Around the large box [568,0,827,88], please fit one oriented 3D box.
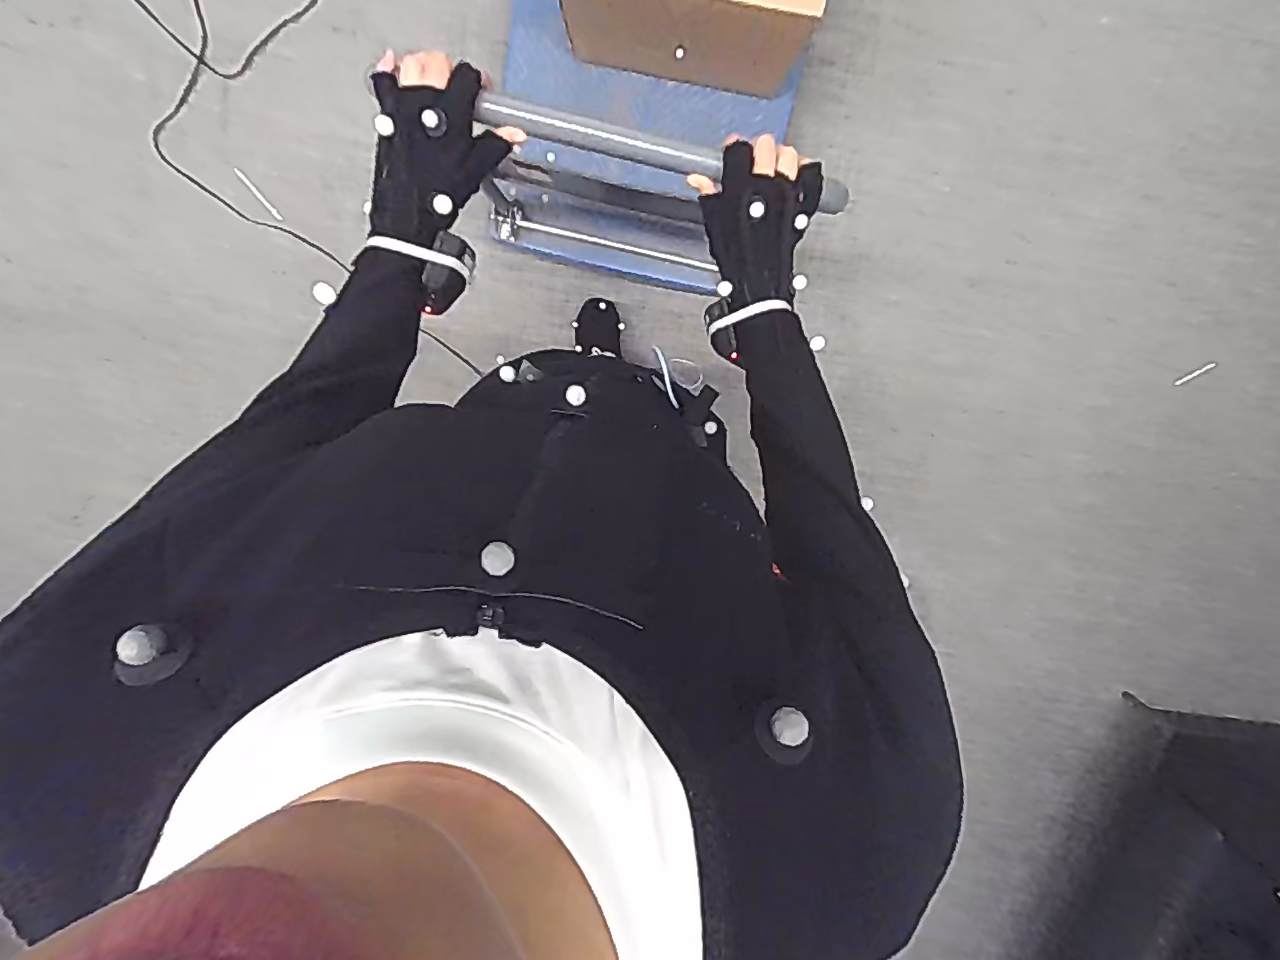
[{"bbox_3d":[0.102,-0.906,0.887,0.408,0.320,0.320,9,106,-3],"label":"large box"}]
